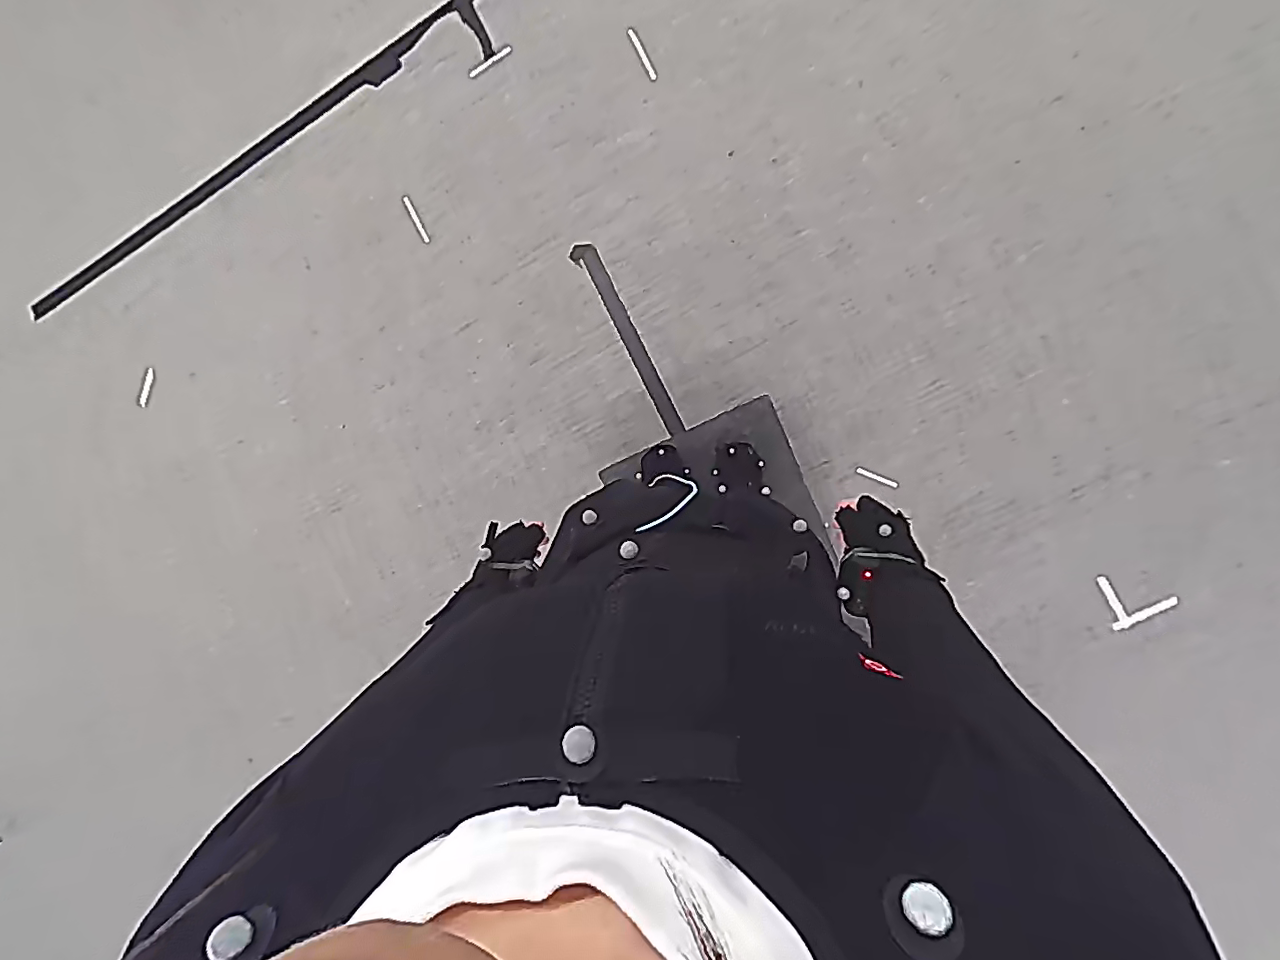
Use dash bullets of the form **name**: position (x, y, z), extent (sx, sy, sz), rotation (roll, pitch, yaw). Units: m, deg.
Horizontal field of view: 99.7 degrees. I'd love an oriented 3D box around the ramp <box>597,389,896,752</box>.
- **ramp**: position (0.319, 0.296, 1.509), extent (0.509, 0.206, 0.991), rotation (-27, 92, 8)
